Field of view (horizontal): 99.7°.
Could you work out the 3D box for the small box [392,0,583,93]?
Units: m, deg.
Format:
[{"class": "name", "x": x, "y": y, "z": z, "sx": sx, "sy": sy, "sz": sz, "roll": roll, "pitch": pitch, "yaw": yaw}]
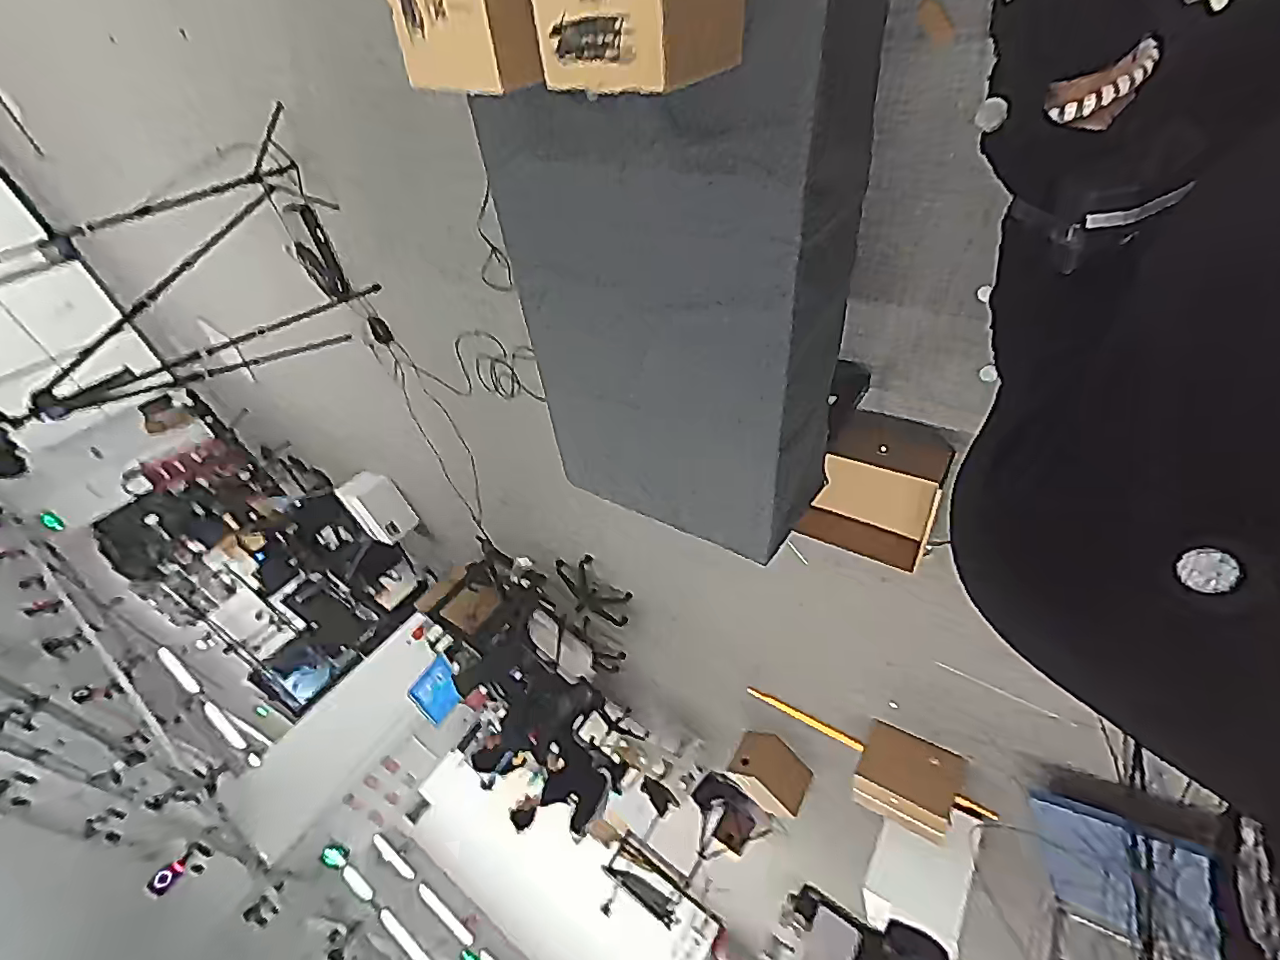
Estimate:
[{"class": "small box", "x": -0.197, "y": -0.617, "z": 0.693, "sx": 0.179, "sy": 0.176, "sz": 0.168, "roll": 23, "pitch": 142, "yaw": 25}]
